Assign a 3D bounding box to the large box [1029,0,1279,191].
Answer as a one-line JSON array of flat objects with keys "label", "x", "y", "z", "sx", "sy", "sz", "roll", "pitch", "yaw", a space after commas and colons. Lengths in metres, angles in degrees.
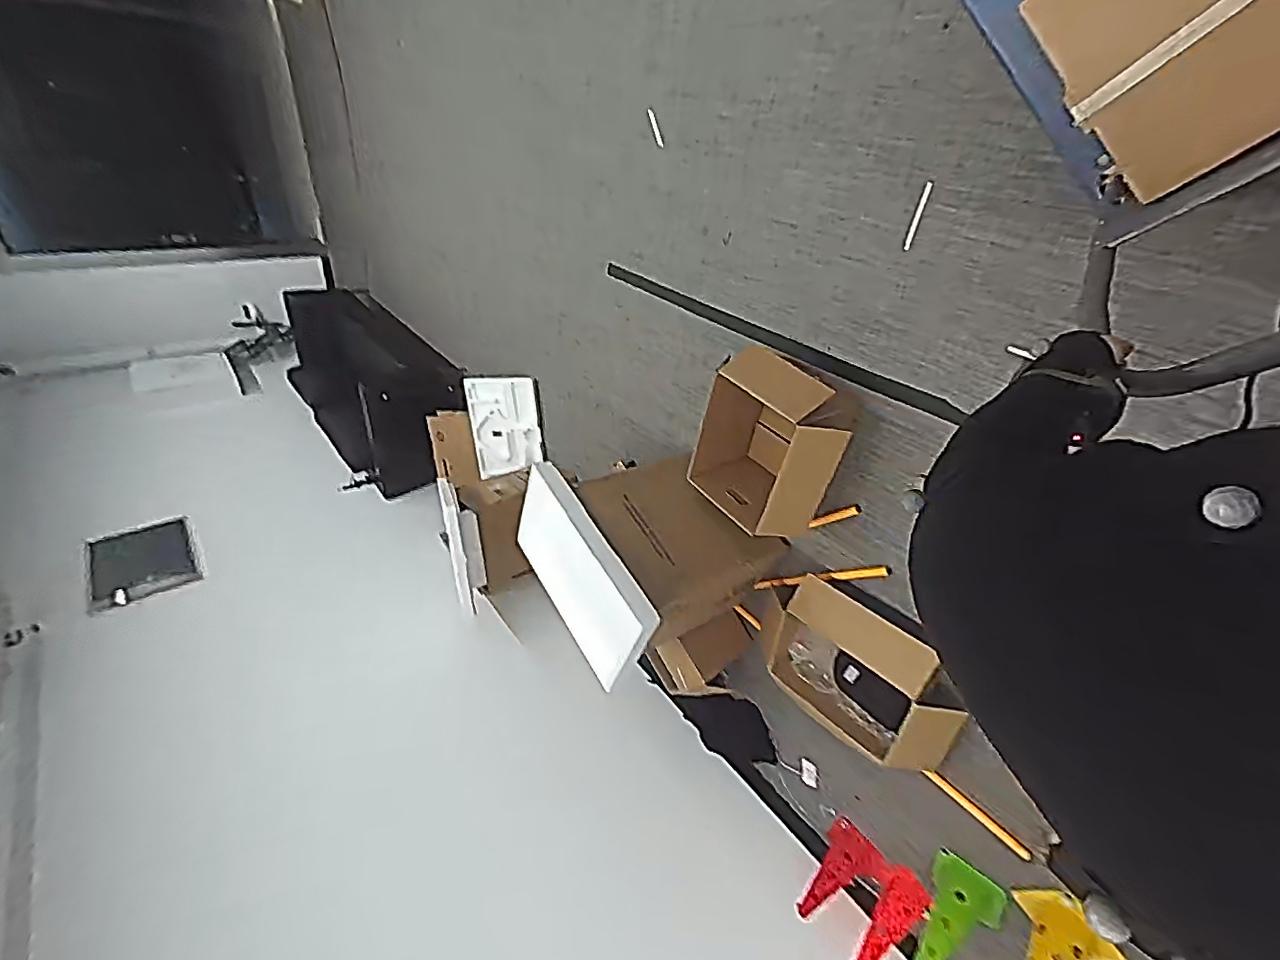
[{"label": "large box", "x": 0.773, "y": -0.641, "z": 0.628, "sx": 0.320, "sy": 0.320, "sz": 0.408, "roll": 49, "pitch": 145, "yaw": -6}]
